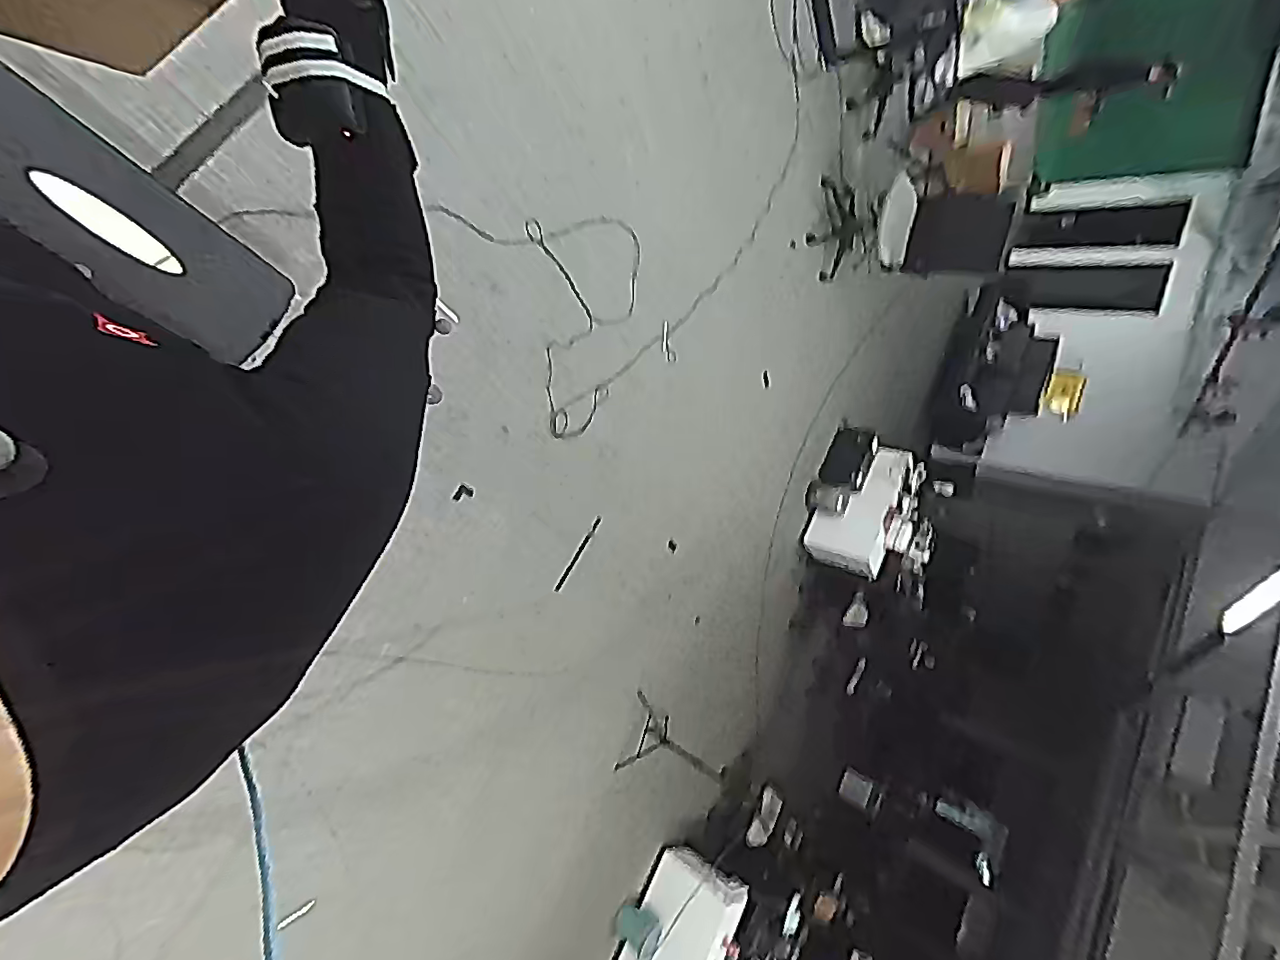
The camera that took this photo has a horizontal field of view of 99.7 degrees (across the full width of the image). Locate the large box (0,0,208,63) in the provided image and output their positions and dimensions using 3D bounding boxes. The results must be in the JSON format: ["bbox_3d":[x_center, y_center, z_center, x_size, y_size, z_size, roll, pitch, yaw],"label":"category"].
[{"bbox_3d":[-0.483,-0.481,0.250,0.408,0.320,0.320,-15,116,-51],"label":"large box"}]
